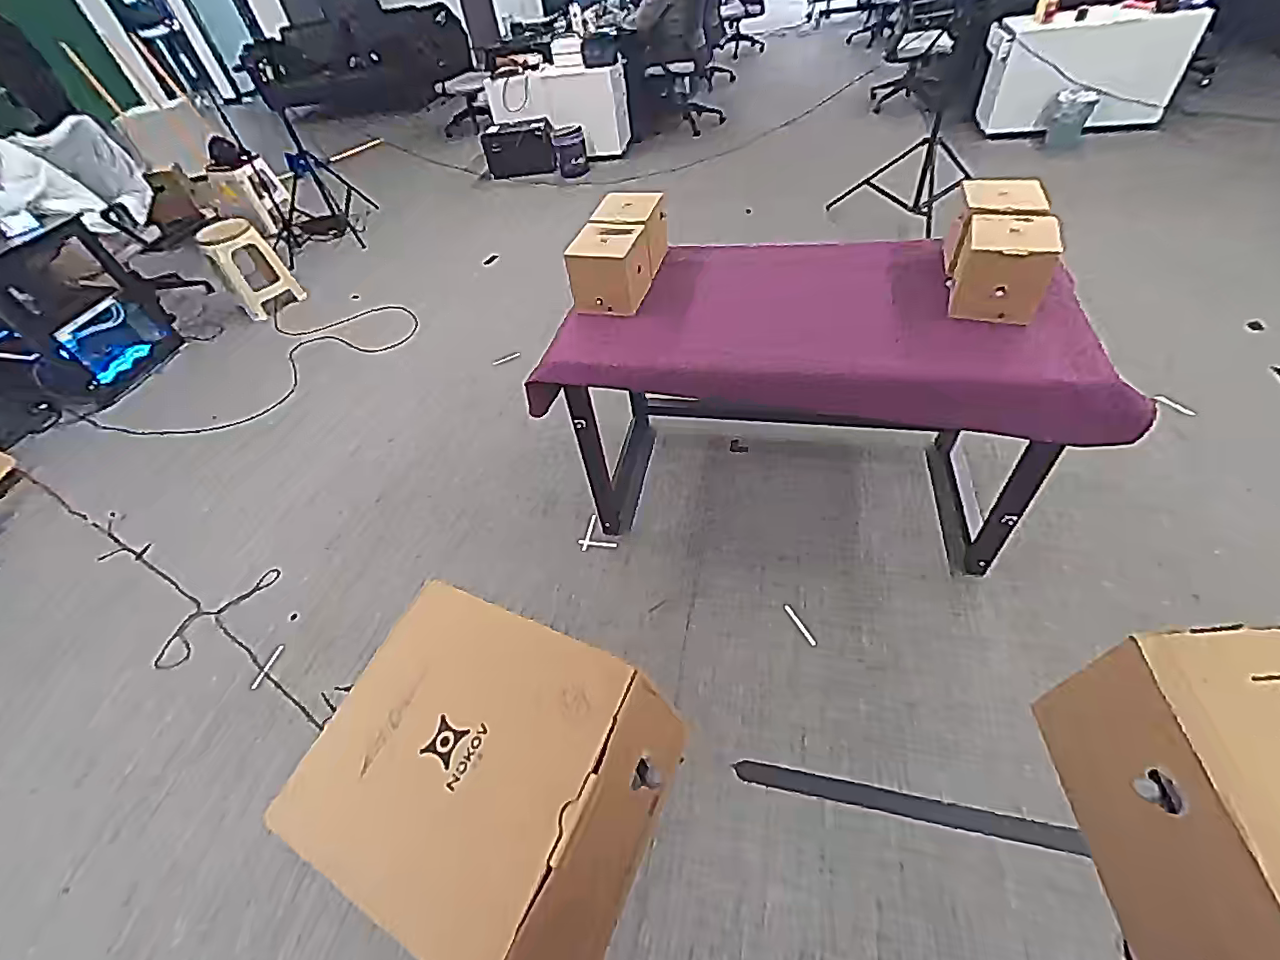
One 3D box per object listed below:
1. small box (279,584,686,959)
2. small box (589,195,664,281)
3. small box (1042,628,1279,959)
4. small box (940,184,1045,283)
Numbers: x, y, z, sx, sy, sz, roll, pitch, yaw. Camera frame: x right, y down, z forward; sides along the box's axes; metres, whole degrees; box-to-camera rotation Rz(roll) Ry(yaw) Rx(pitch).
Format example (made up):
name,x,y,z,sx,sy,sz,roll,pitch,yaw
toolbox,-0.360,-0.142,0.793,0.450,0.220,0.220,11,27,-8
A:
name,x,y,z,sx,sy,sz,roll,pitch,yaw
small box,-0.084,0.202,0.377,0.179,0.176,0.168,14,58,27
small box,-0.031,-0.695,1.549,0.168,0.176,0.179,8,51,16
small box,0.383,0.198,0.317,0.168,0.176,0.179,-8,54,10
small box,0.860,-0.611,1.338,0.168,0.176,0.179,9,49,15
